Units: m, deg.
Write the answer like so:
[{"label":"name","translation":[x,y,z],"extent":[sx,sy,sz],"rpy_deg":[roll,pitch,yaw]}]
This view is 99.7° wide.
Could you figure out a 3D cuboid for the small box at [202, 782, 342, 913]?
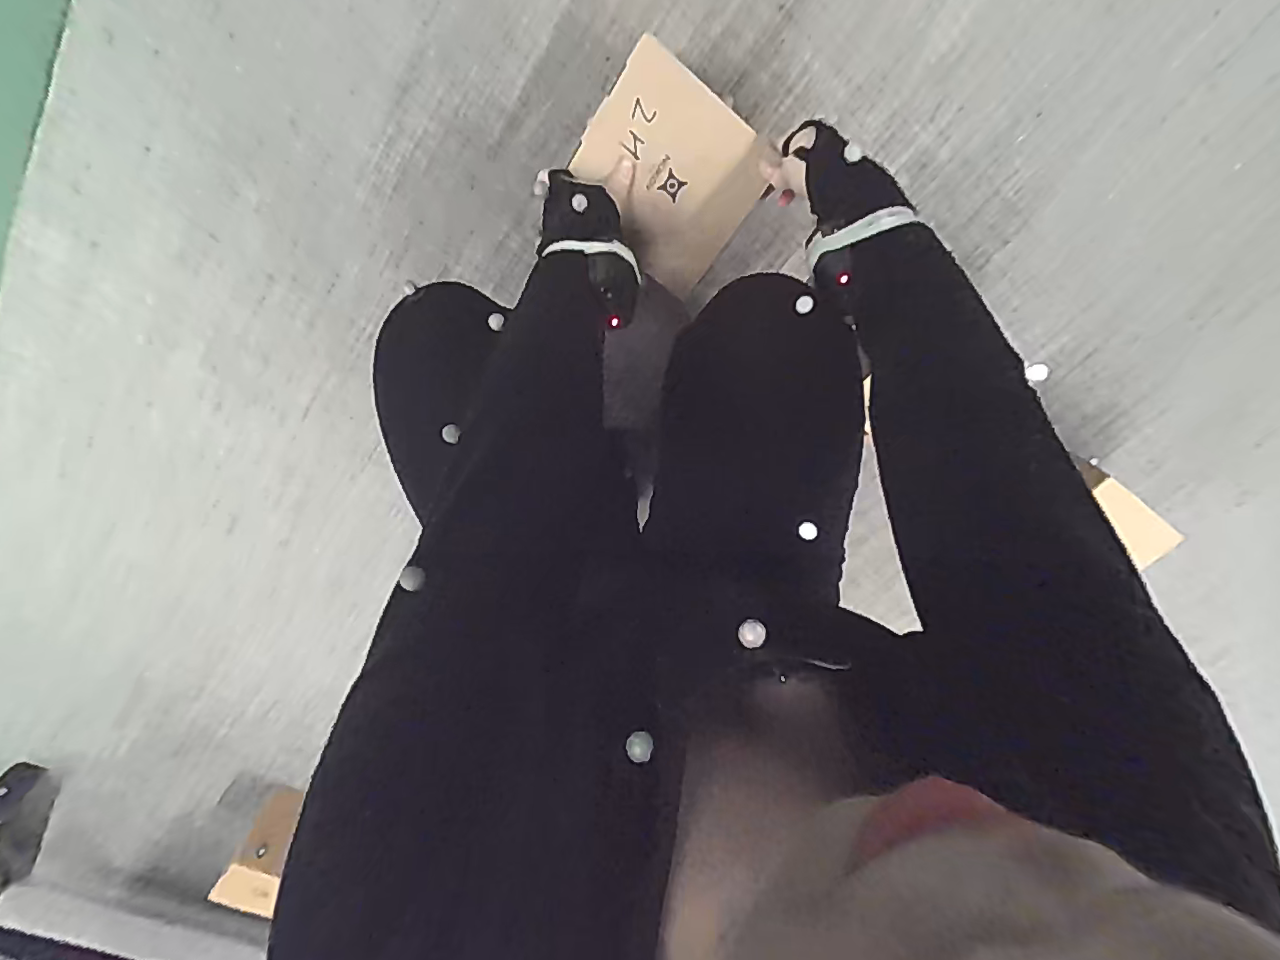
[{"label":"small box","translation":[-0.806,0.812,1.203],"extent":[0.179,0.176,0.168],"rpy_deg":[34,112,-15]}]

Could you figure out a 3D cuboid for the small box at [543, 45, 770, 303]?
[{"label":"small box","translation":[0.016,-0.335,0.617],"extent":[0.179,0.176,0.168],"rpy_deg":[34,112,-17]}]
